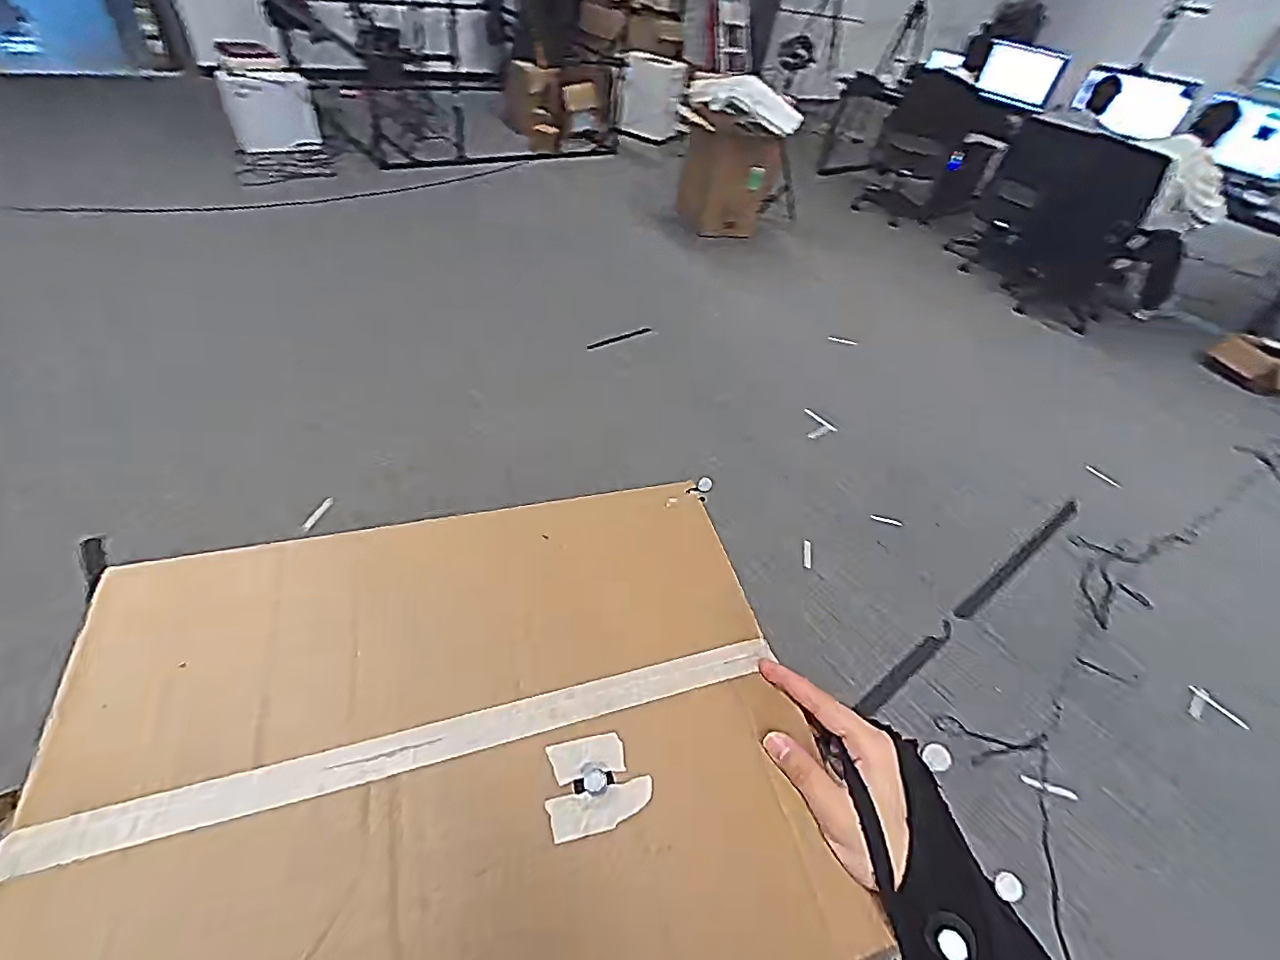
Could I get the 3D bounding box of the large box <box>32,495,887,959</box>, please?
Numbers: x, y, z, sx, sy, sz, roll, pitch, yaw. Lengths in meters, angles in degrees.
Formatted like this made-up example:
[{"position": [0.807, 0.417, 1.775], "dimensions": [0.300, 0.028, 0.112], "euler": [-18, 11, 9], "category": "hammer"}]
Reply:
[{"position": [-0.116, 0.249, 0.434], "dimensions": [0.408, 0.320, 0.320], "euler": [-7, 53, -17], "category": "large box"}]
